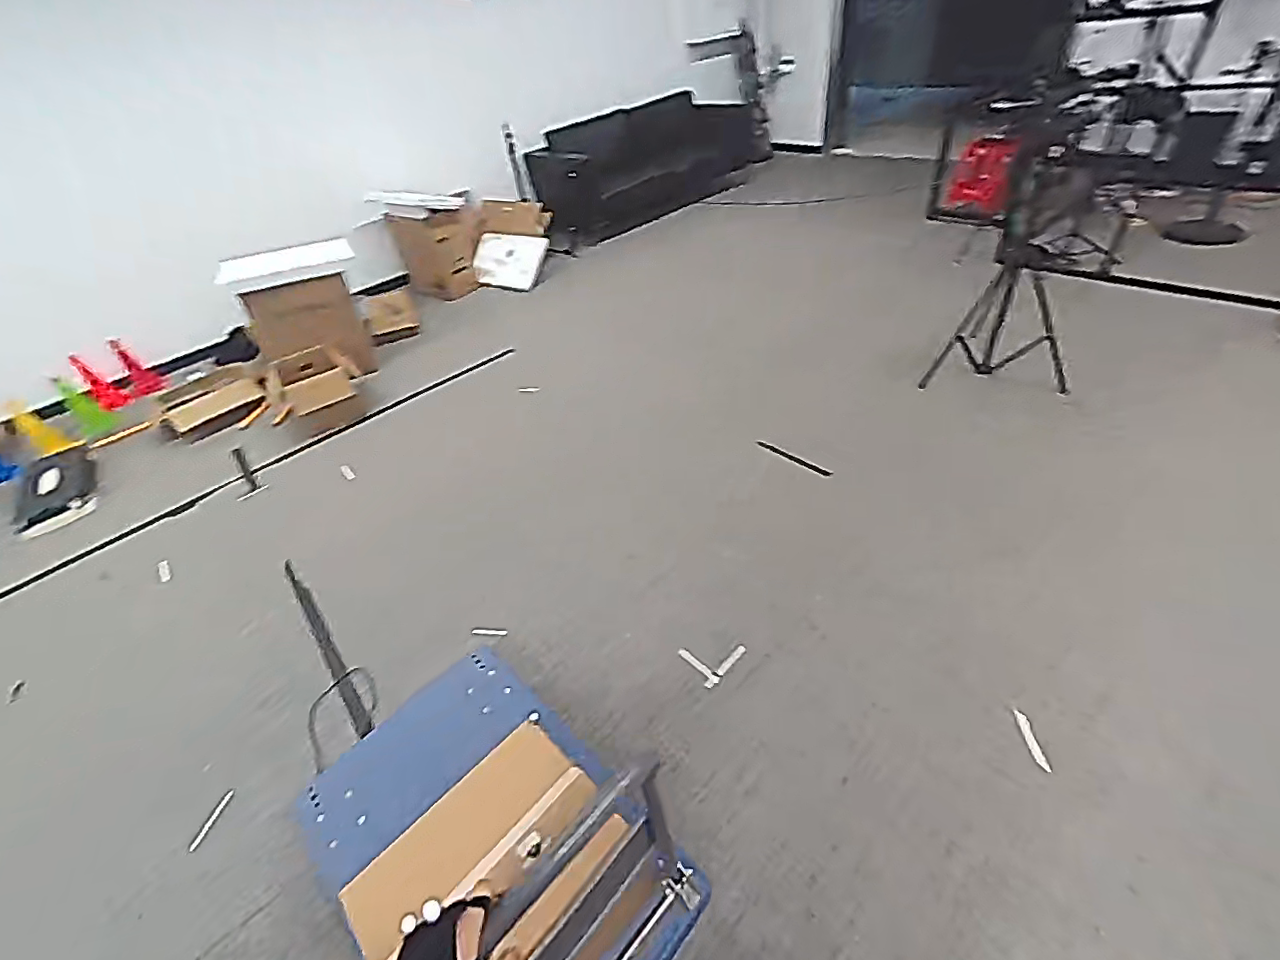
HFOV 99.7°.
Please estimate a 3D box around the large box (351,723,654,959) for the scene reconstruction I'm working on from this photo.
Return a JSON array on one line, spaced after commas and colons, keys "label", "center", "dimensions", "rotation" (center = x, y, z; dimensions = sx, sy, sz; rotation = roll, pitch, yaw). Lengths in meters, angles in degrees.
[{"label": "large box", "center": [-0.227, 0.768, 1.008], "dimensions": [0.320, 0.320, 0.408], "rotation": [29, 52, 36]}]
